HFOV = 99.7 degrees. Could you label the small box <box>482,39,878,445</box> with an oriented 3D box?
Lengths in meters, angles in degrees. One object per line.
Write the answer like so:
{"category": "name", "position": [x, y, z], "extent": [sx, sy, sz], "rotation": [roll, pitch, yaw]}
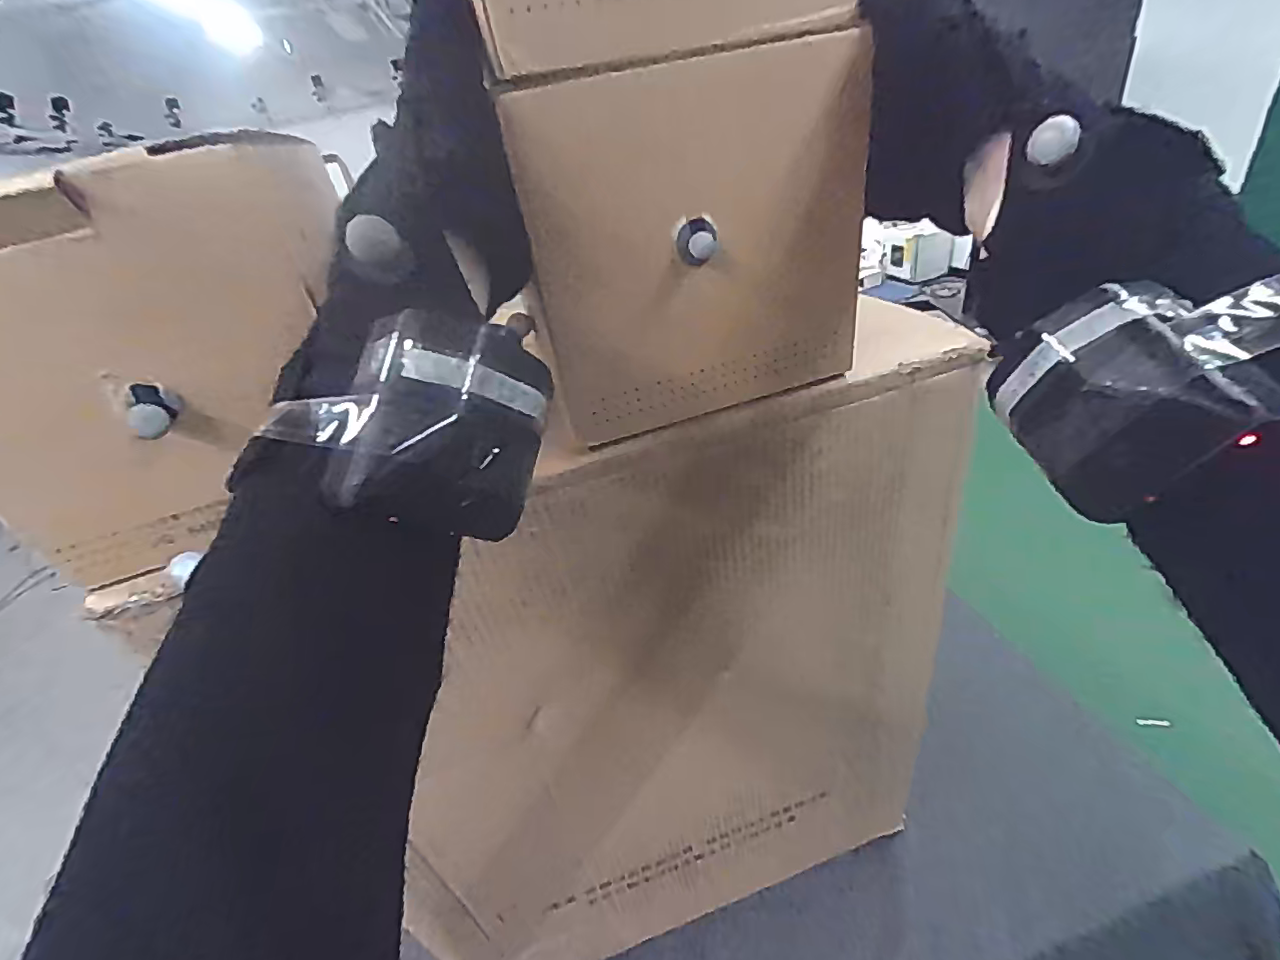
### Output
{"category": "small box", "position": [0.014, -0.145, 0.335], "extent": [0.179, 0.176, 0.168], "rotation": [-16, 34, -8]}

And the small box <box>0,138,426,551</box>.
{"category": "small box", "position": [-0.237, -0.079, 0.311], "extent": [0.168, 0.176, 0.179], "rotation": [-17, 35, -8]}
